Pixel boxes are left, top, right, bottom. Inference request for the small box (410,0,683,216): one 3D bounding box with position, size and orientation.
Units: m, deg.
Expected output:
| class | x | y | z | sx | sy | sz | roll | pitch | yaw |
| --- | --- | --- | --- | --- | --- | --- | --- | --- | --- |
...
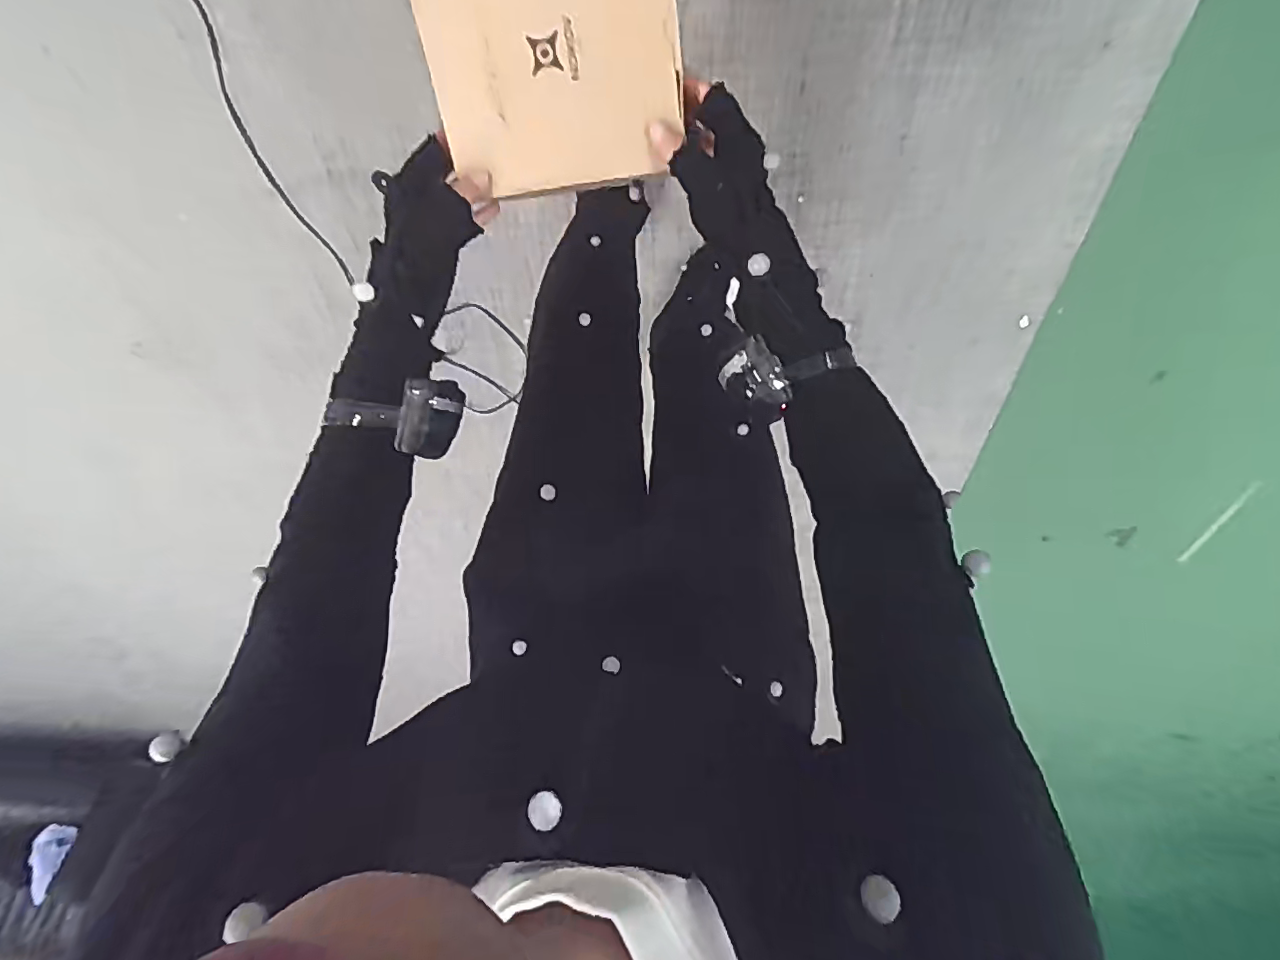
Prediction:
| class | x | y | z | sx | sy | sz | roll | pitch | yaw |
| --- | --- | --- | --- | --- | --- | --- | --- | --- | --- |
| small box | -0.060 | -0.329 | 0.457 | 0.179 | 0.176 | 0.168 | -6 | 116 | 8 |
